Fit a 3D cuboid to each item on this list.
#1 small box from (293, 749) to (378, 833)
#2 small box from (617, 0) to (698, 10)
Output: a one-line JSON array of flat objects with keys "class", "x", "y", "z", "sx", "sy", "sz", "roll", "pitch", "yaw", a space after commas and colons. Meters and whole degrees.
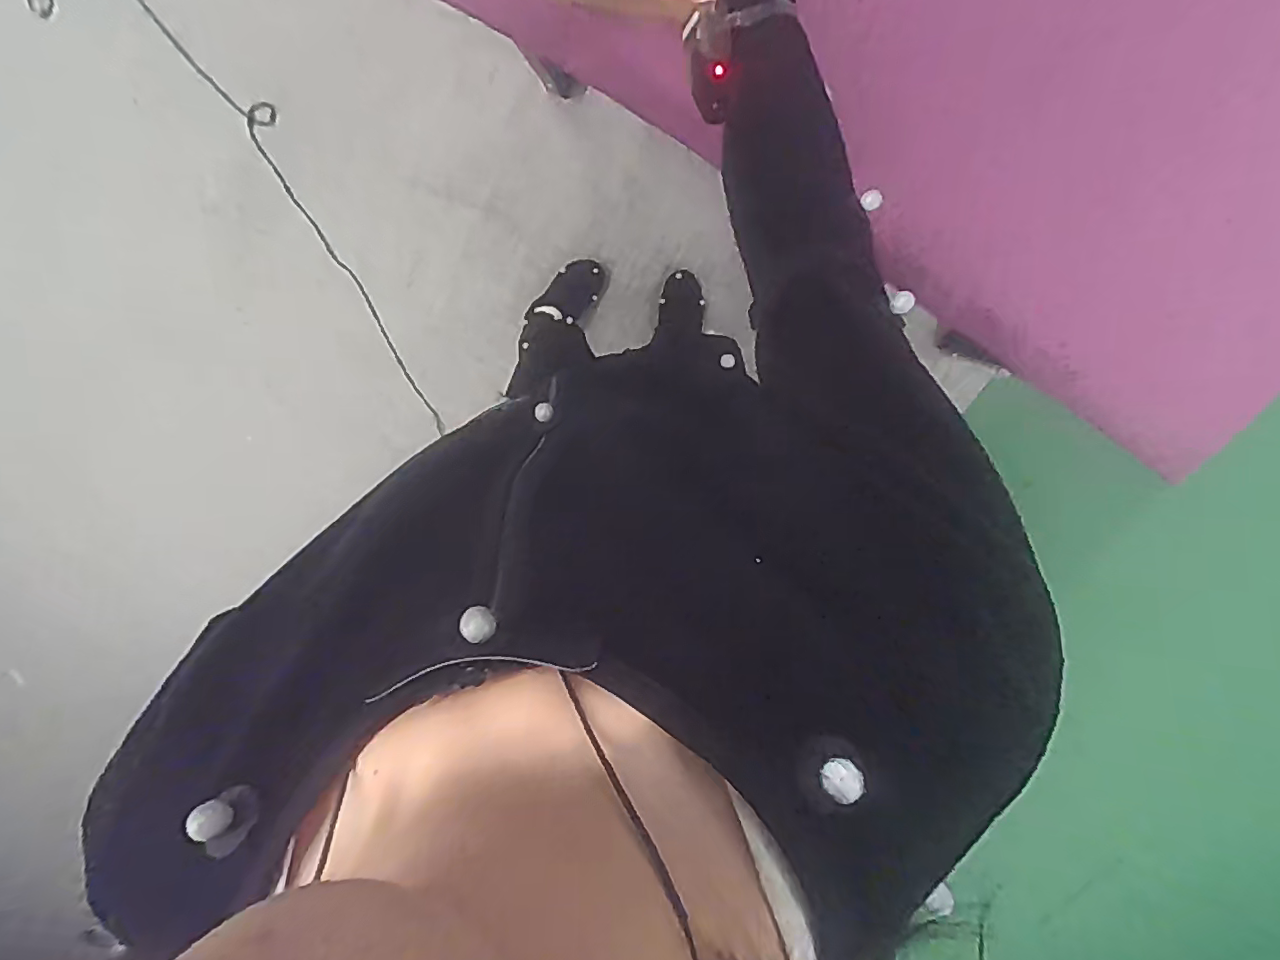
[{"class": "small box", "x": -1.087, "y": 1.116, "z": 1.947, "sx": 0.179, "sy": 0.176, "sz": 0.168, "roll": -40, "pitch": 105, "yaw": 17}, {"class": "small box", "x": -0.014, "y": -0.549, "z": 0.470, "sx": 0.179, "sy": 0.176, "sz": 0.168, "roll": 6, "pitch": 114, "yaw": -2}]
